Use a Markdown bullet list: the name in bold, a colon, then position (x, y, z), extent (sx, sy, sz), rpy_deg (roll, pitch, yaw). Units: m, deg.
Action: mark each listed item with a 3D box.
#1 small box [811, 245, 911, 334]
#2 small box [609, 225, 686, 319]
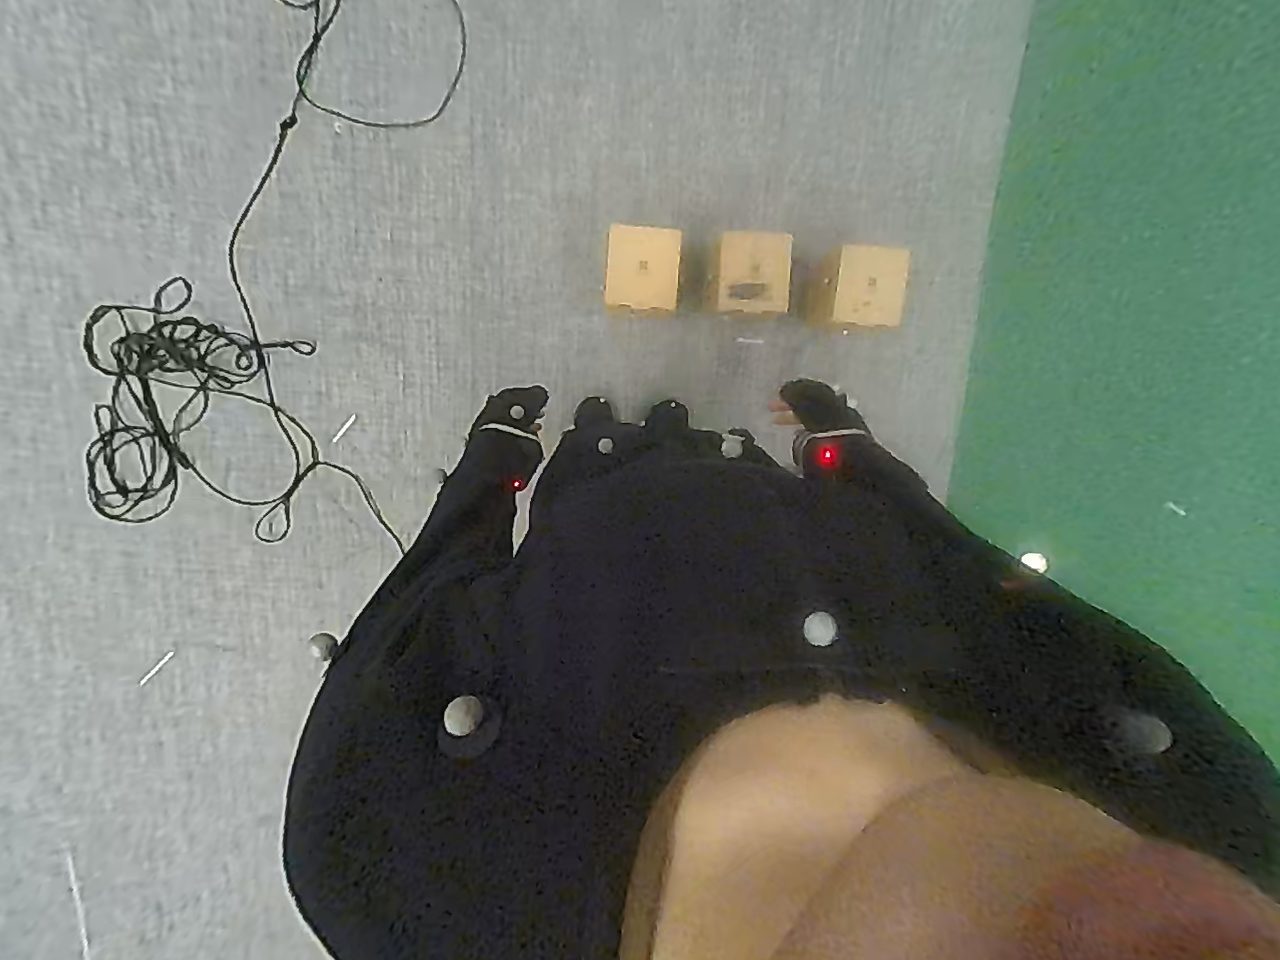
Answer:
- **small box**: position (0.541, -0.466, 1.346), extent (0.168, 0.176, 0.179), rpy_deg (4, 100, -3)
- **small box**: position (0.012, -0.498, 1.317), extent (0.168, 0.176, 0.179), rpy_deg (4, 100, -3)
